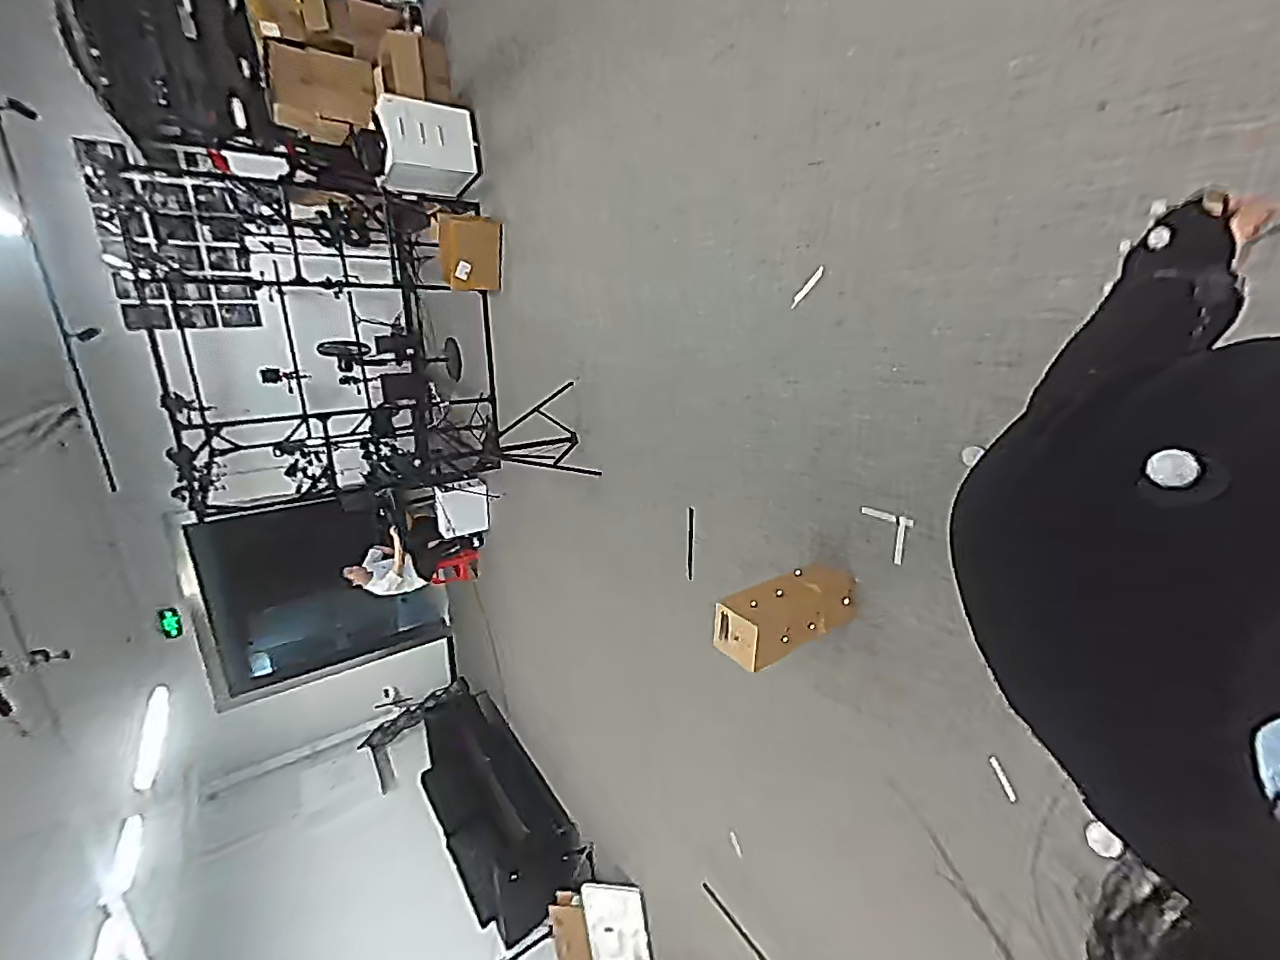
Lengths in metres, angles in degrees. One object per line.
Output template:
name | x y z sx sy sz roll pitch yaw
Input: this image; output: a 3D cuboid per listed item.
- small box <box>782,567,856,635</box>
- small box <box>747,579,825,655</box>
small box | 0.617 0.408 1.863 0.179 0.176 0.168 5 105 56
small box | 0.479 0.441 1.782 0.179 0.176 0.168 24 120 51
